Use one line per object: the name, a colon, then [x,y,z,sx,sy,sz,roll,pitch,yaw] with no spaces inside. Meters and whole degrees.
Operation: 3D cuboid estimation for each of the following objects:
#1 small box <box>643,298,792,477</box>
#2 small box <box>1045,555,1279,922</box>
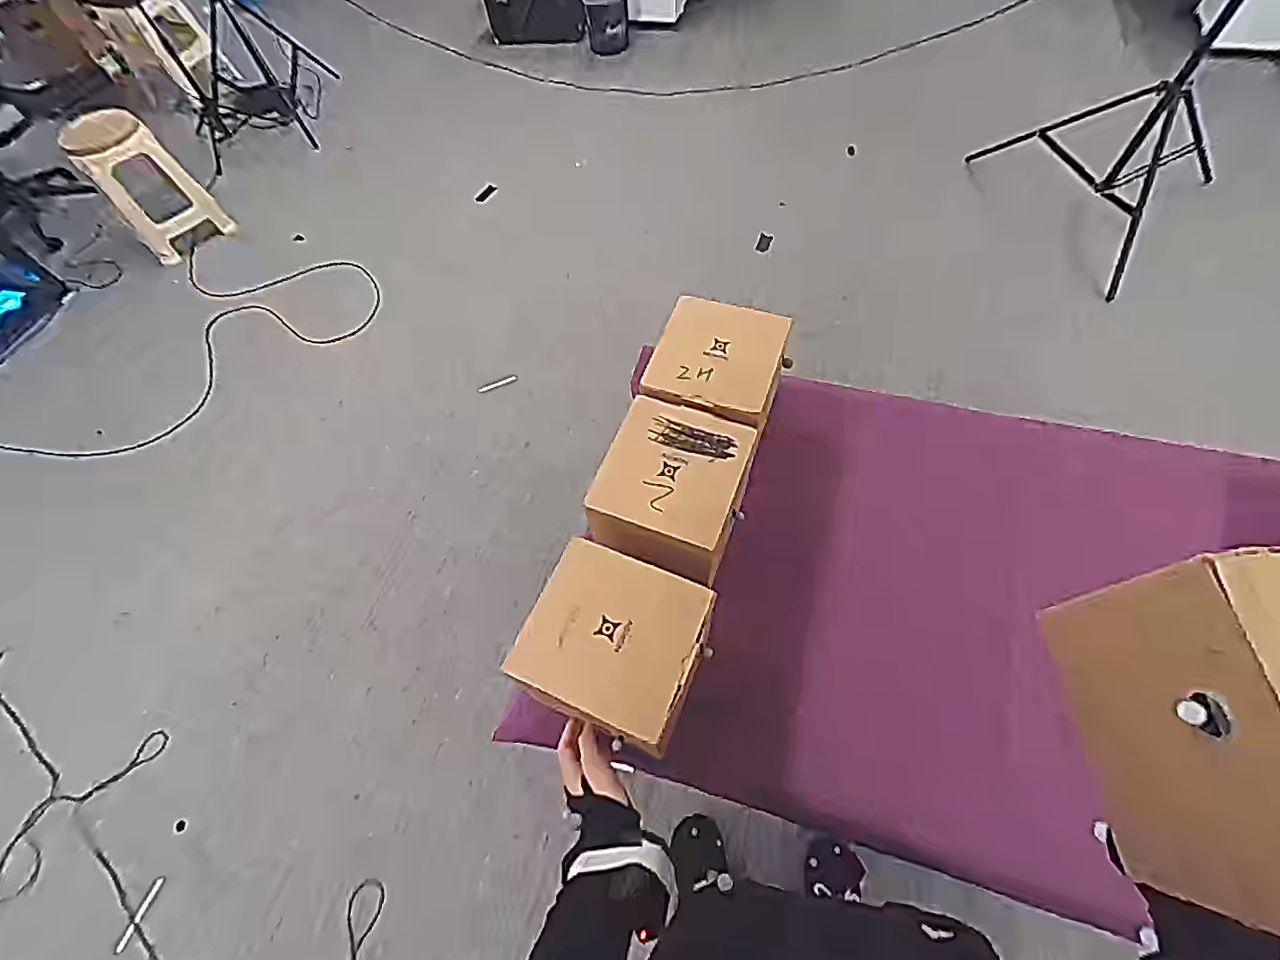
small box: [0.112,-0.133,0.804,0.168,0.176,0.179,17,64,14]
small box: [0.386,0.146,0.314,0.168,0.176,0.179,-6,66,5]
